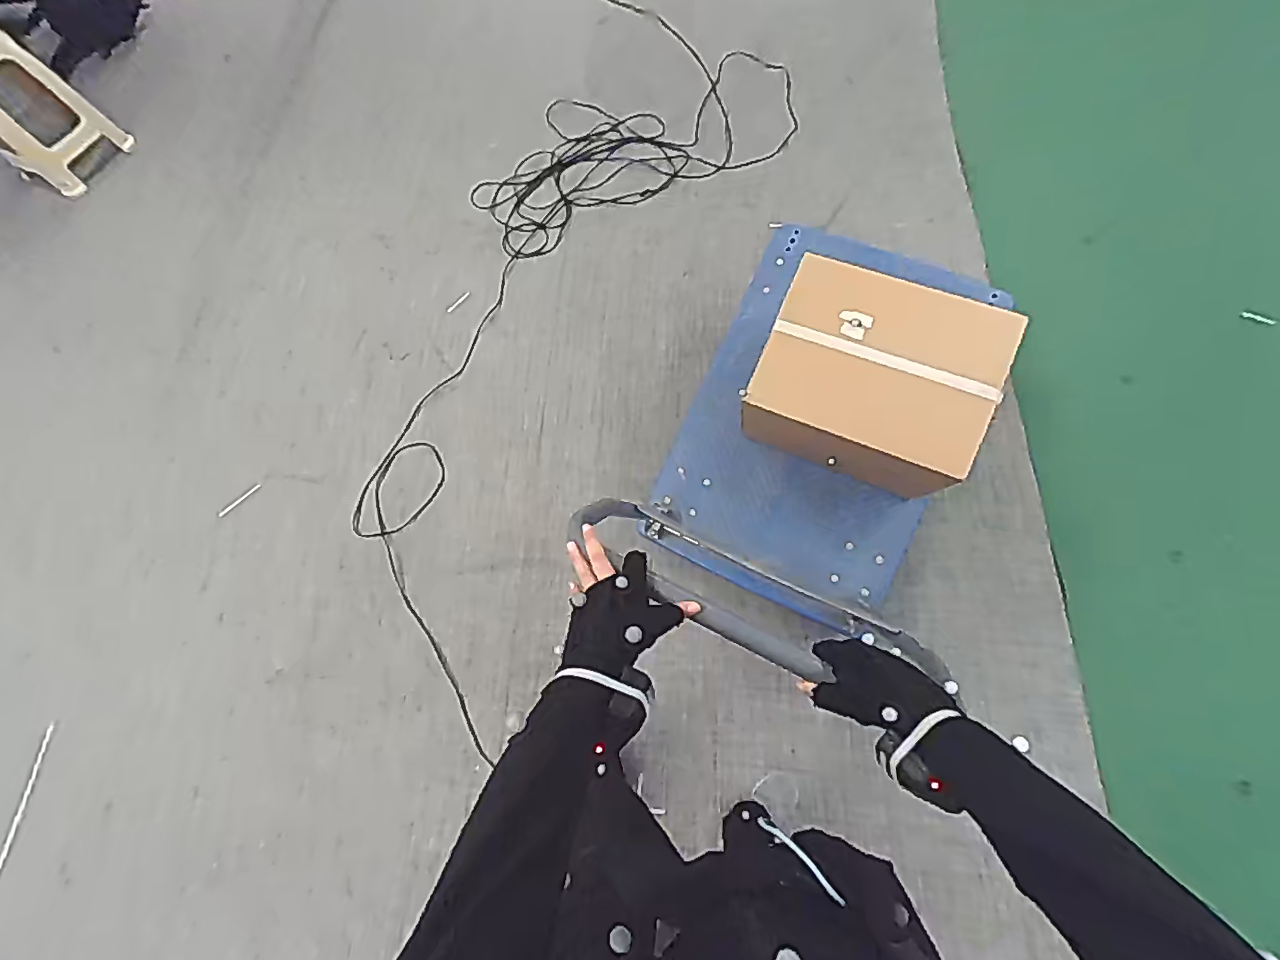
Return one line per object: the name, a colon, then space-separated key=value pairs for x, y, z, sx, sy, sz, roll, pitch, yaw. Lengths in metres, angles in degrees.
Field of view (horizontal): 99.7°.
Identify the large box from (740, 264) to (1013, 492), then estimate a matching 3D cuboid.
large box: x=0.457 y=-0.193 z=1.134 sx=0.408 sy=0.320 sz=0.320 roll=22 pitch=87 yaw=14
